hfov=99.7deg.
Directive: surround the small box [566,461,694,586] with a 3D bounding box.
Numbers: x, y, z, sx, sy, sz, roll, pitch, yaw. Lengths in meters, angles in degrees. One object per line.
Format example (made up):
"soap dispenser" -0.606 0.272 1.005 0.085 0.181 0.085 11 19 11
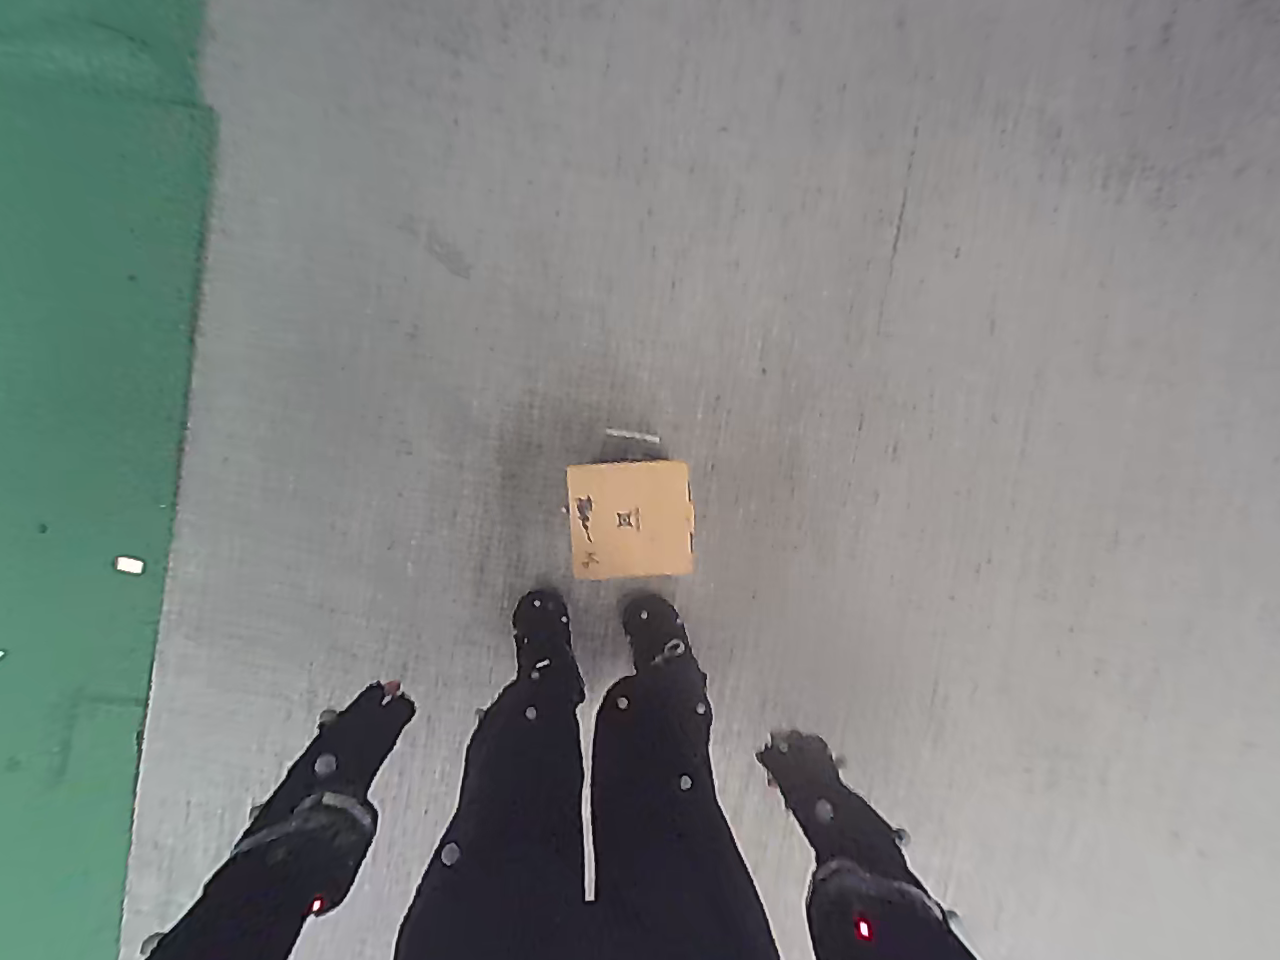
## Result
"small box" -0.015 0.061 0.861 0.179 0.176 0.168 -5 94 1
